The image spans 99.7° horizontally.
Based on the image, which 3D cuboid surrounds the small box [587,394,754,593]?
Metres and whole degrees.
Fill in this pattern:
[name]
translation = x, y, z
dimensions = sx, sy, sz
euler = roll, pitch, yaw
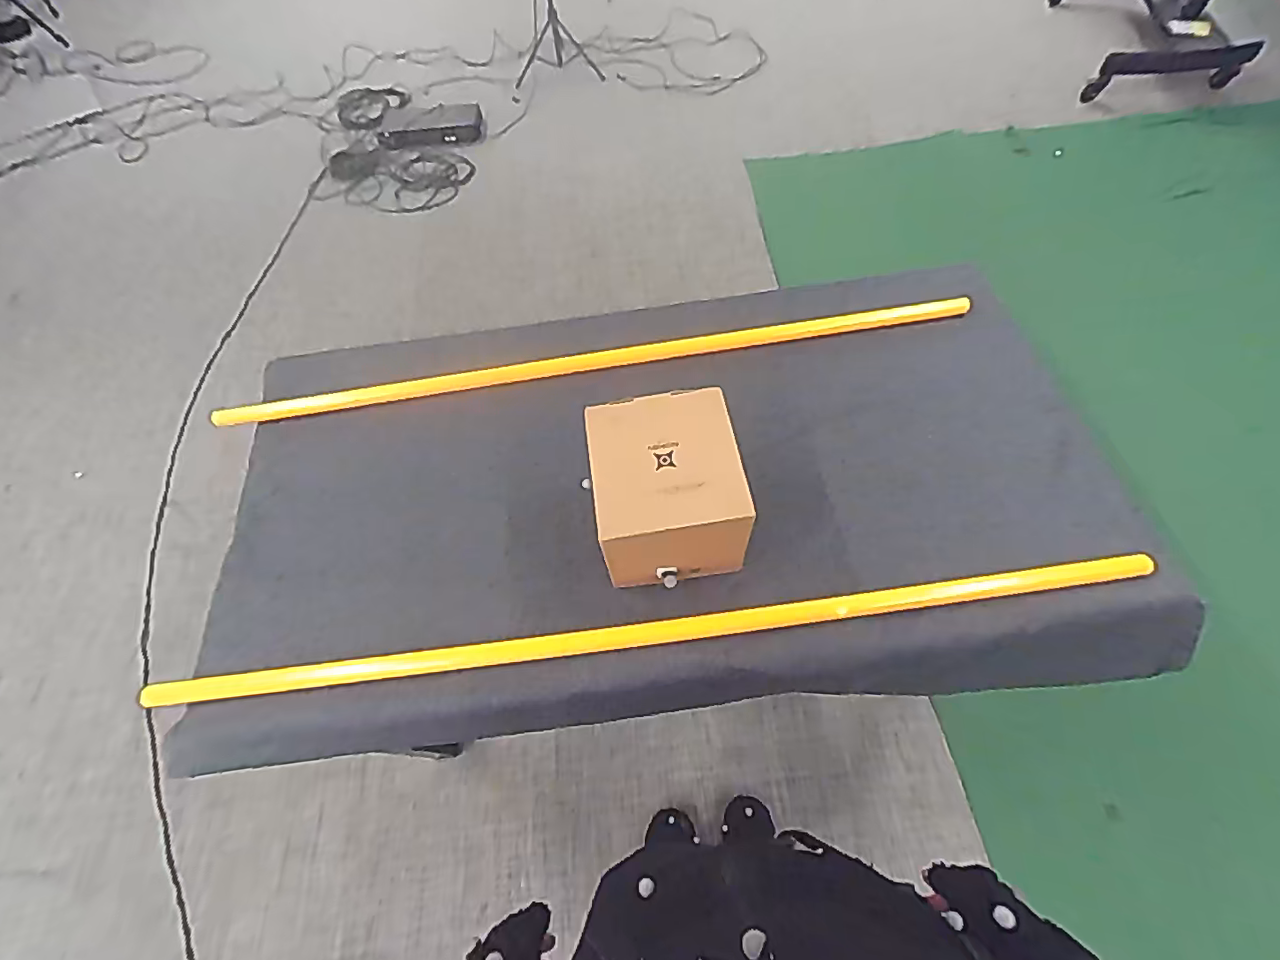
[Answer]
[small box]
translation = 0.032, 0.022, 0.671
dimensions = 0.168, 0.176, 0.179
euler = -10, 61, 0
